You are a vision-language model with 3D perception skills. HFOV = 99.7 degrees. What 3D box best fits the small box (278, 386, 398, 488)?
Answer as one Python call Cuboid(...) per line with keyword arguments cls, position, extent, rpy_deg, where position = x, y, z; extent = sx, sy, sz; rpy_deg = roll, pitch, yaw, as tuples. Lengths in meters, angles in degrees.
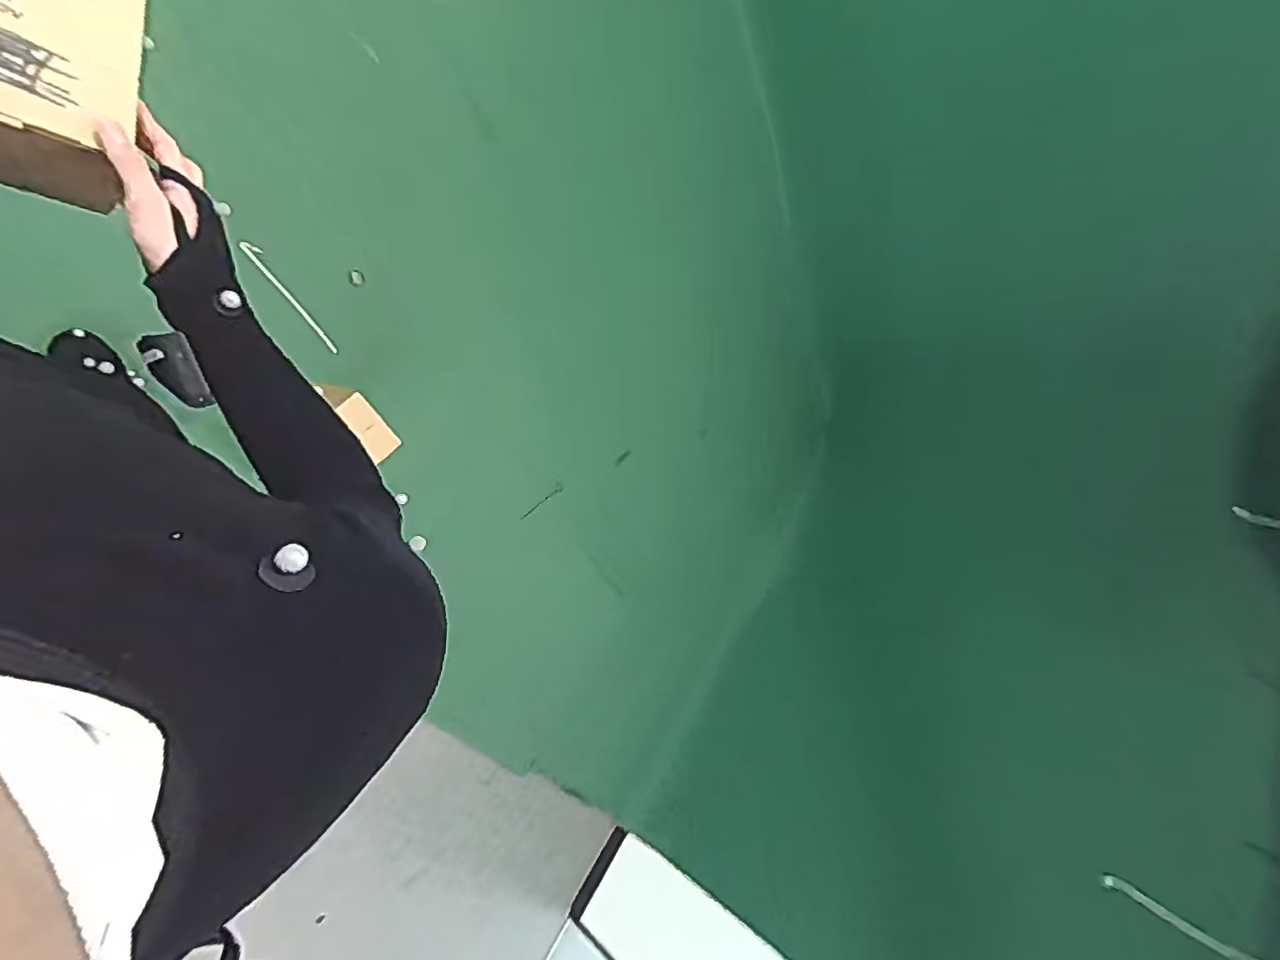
Cuboid(cls="small box", position=(-0.735, -0.109, 1.309), extent=(0.179, 0.176, 0.168), rpy_deg=(-50, 135, -27))
